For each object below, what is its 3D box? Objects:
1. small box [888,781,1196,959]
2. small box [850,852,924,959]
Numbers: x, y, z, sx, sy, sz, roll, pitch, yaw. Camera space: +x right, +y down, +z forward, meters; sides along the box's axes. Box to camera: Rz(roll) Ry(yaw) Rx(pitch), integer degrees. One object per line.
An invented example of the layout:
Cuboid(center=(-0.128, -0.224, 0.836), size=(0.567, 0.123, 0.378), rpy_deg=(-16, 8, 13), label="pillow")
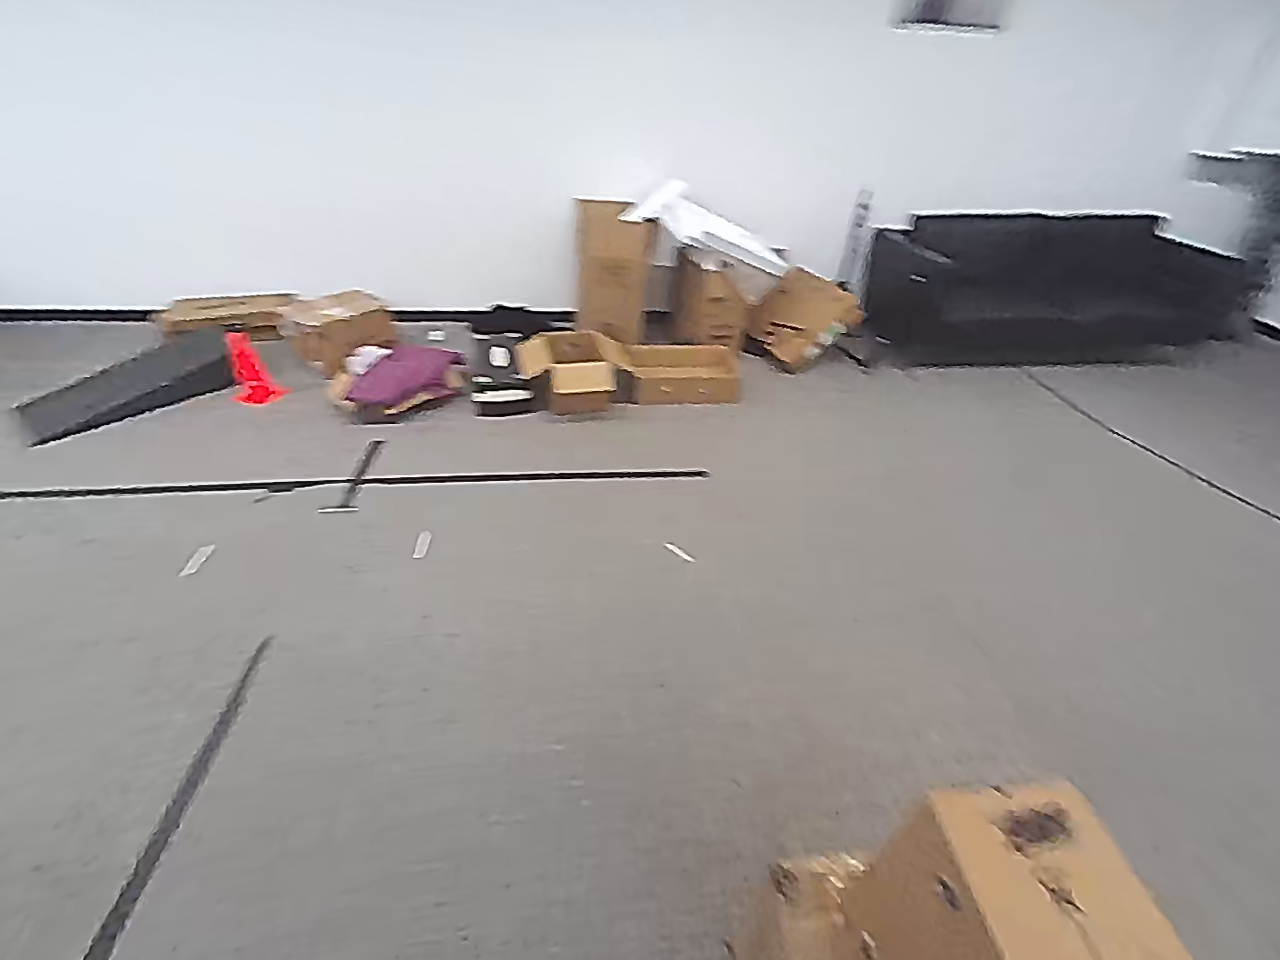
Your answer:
Cuboid(center=(0.383, 0.437, 0.548), size=(0.168, 0.176, 0.179), rpy_deg=(-2, 38, -4), label="small box")
Cuboid(center=(0.381, 0.566, 0.649), size=(0.179, 0.176, 0.168), rpy_deg=(-3, 37, -3), label="small box")
